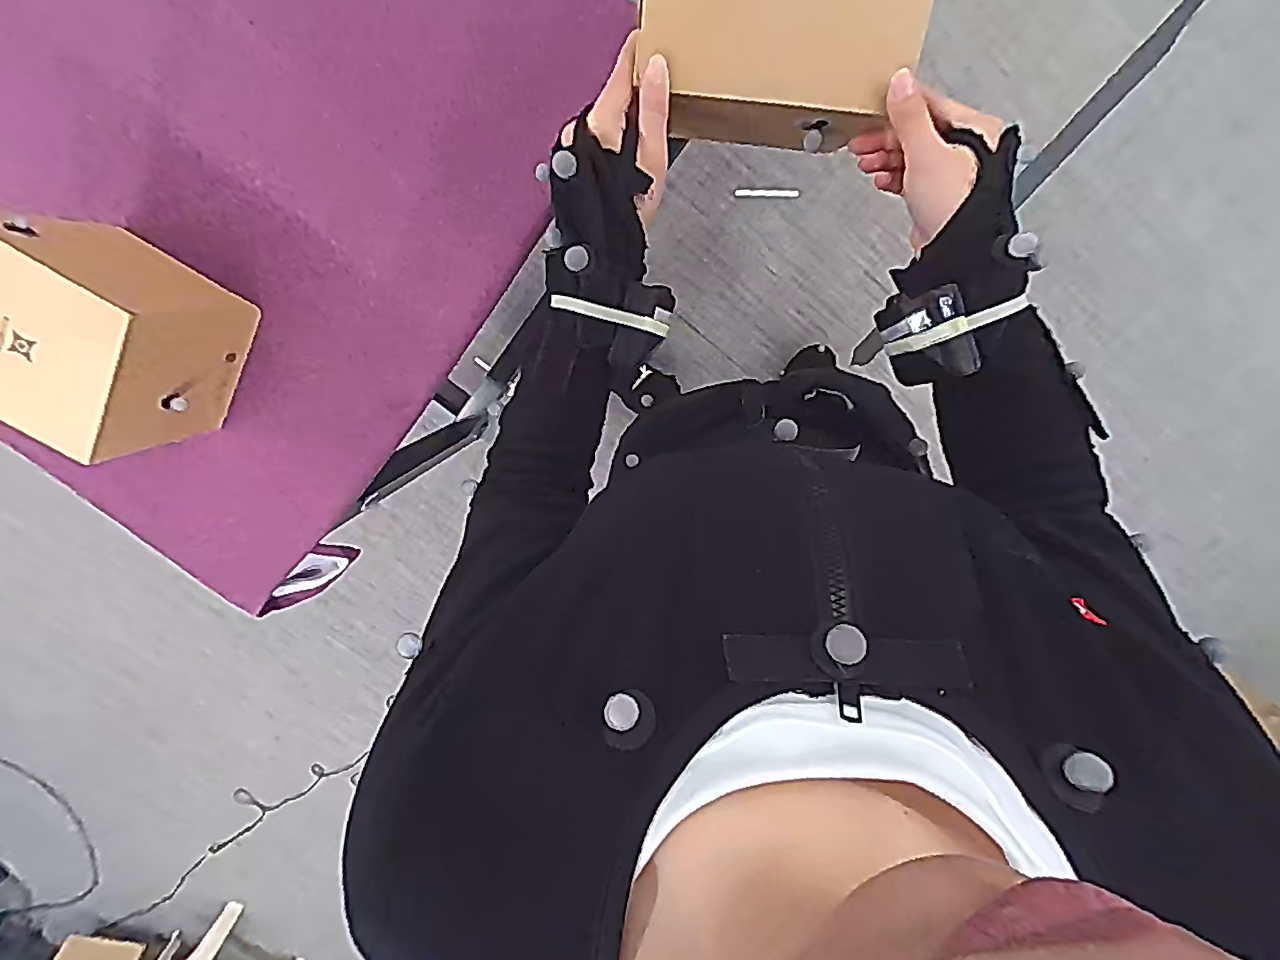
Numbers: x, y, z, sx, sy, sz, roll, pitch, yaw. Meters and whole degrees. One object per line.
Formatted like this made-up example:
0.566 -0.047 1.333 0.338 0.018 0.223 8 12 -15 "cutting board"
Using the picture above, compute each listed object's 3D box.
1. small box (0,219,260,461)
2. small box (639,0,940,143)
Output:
-0.549 -0.149 0.561 0.179 0.176 0.168 30 107 -6 "small box"
0.096 -0.350 0.380 0.179 0.176 0.168 6 114 0 "small box"
